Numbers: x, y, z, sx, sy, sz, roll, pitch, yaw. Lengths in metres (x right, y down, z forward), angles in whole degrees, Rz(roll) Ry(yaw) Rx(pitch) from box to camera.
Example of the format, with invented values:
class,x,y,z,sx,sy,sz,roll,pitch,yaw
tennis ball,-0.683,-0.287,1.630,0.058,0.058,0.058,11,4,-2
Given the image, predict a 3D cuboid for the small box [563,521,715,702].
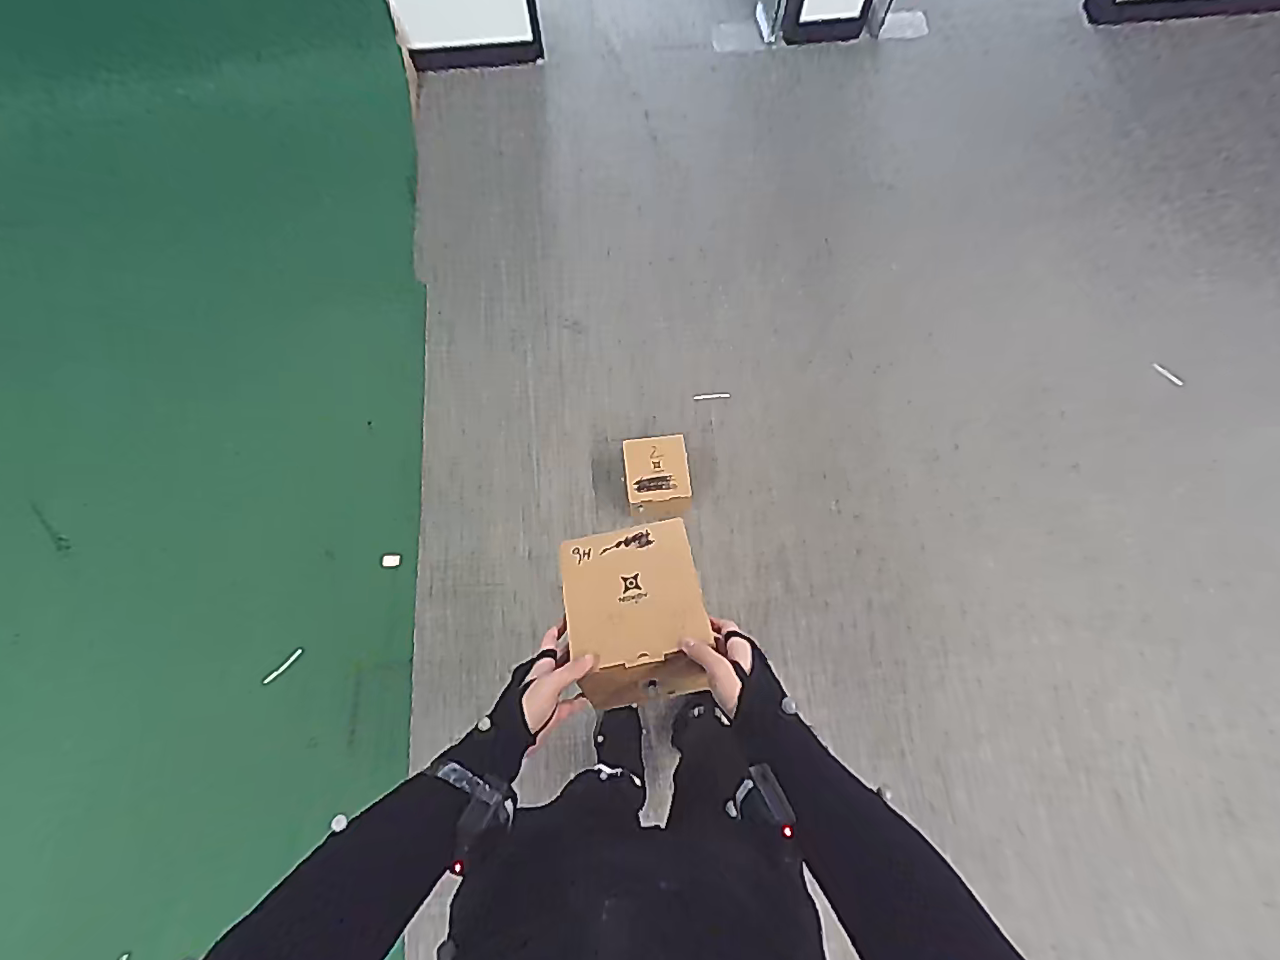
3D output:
class,x,y,z,sx,sy,sz,roll,pitch,yaw
small box,0.001,0.182,0.717,0.168,0.176,0.179,-11,55,-2
